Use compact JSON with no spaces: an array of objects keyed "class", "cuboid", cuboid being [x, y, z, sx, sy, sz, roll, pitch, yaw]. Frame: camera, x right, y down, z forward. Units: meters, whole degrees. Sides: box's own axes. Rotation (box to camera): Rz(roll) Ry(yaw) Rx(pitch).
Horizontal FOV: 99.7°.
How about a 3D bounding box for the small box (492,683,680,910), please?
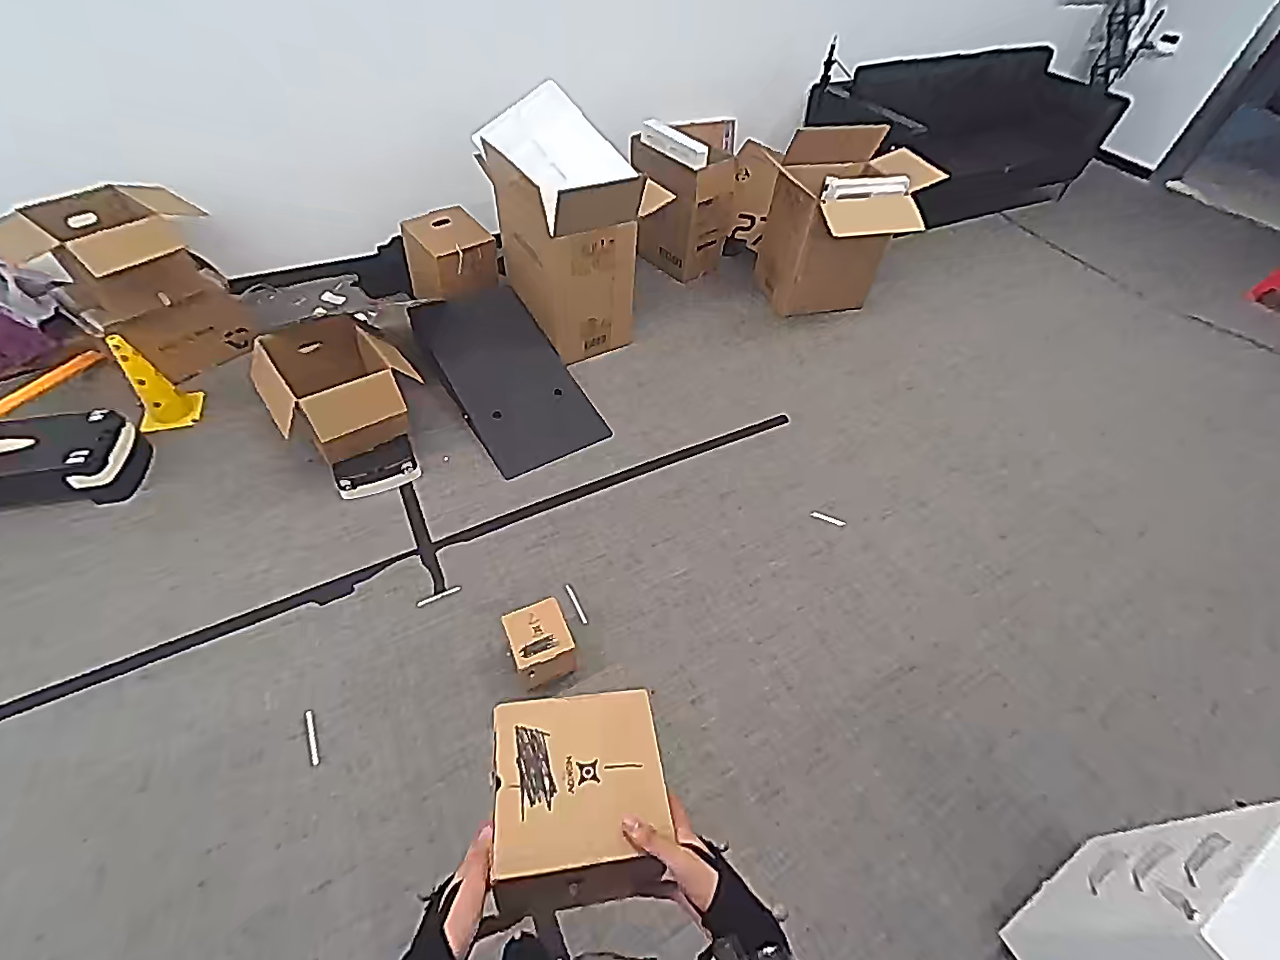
[{"class":"small box","cuboid":[-0.067,0.350,0.603,0.179,0.176,0.168,-1,42,-12]}]
